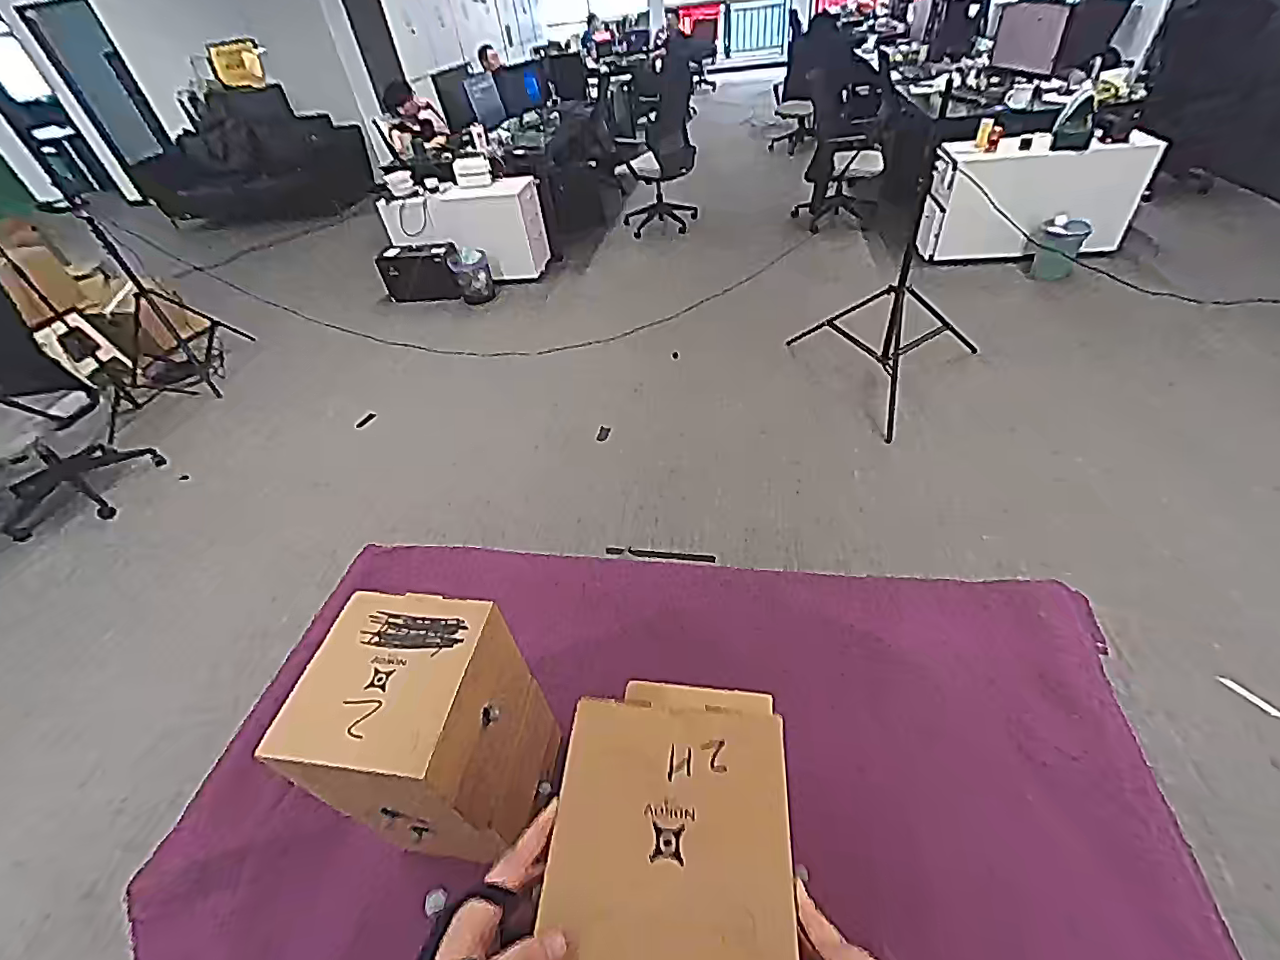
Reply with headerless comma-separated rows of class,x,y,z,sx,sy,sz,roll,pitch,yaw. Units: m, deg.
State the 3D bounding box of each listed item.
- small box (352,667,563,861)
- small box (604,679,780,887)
small box,-0.213,0.360,0.687,0.179,0.176,0.168,2,44,10
small box,0.070,0.361,0.644,0.179,0.176,0.168,1,43,11
